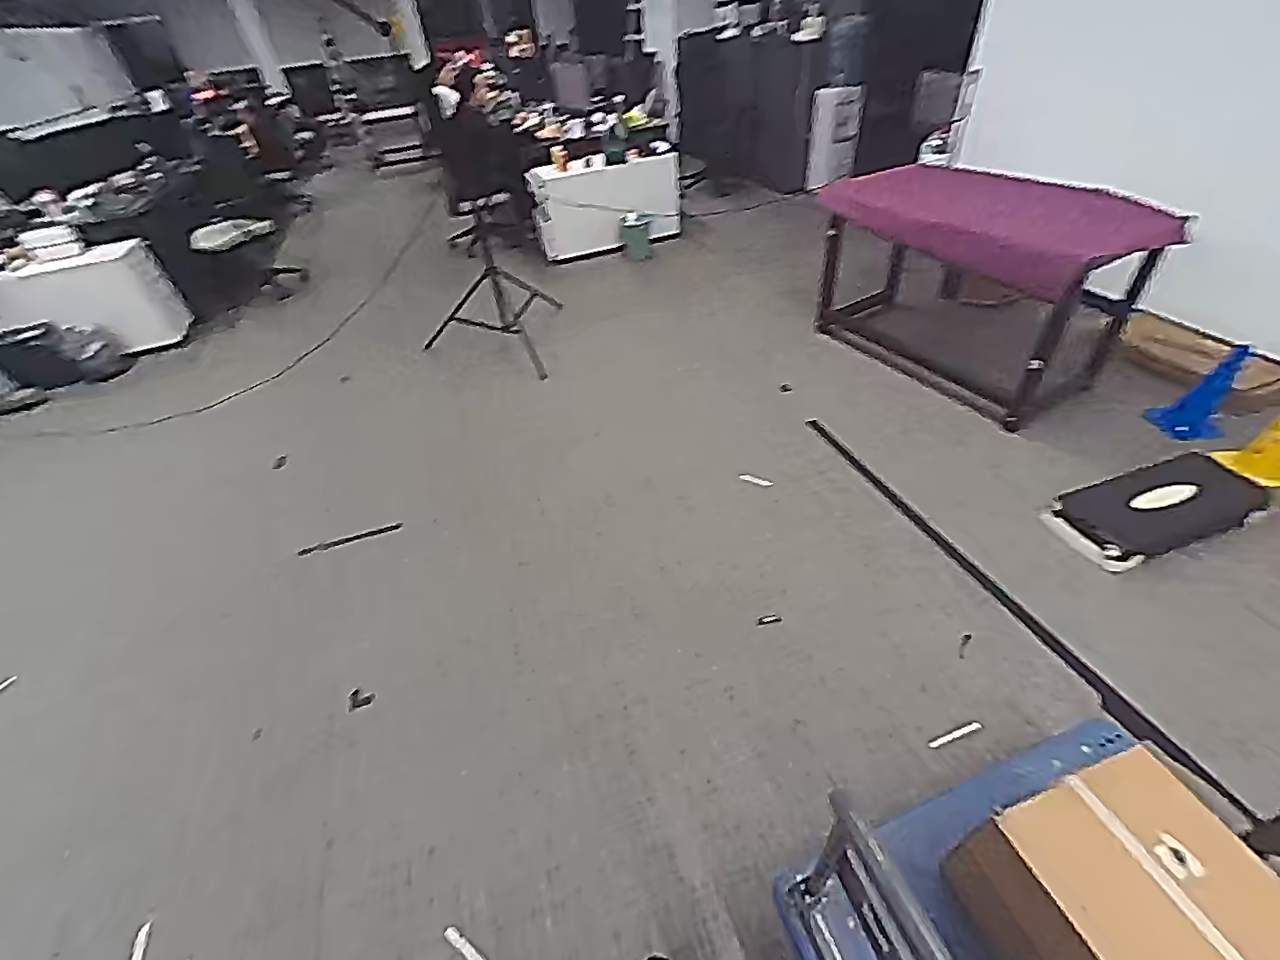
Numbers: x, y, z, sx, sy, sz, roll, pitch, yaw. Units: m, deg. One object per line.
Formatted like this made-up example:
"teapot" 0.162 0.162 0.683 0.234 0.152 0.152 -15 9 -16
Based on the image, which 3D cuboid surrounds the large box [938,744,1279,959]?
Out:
"large box" 0.779 0.730 0.863 0.320 0.320 0.408 -16 42 -12
